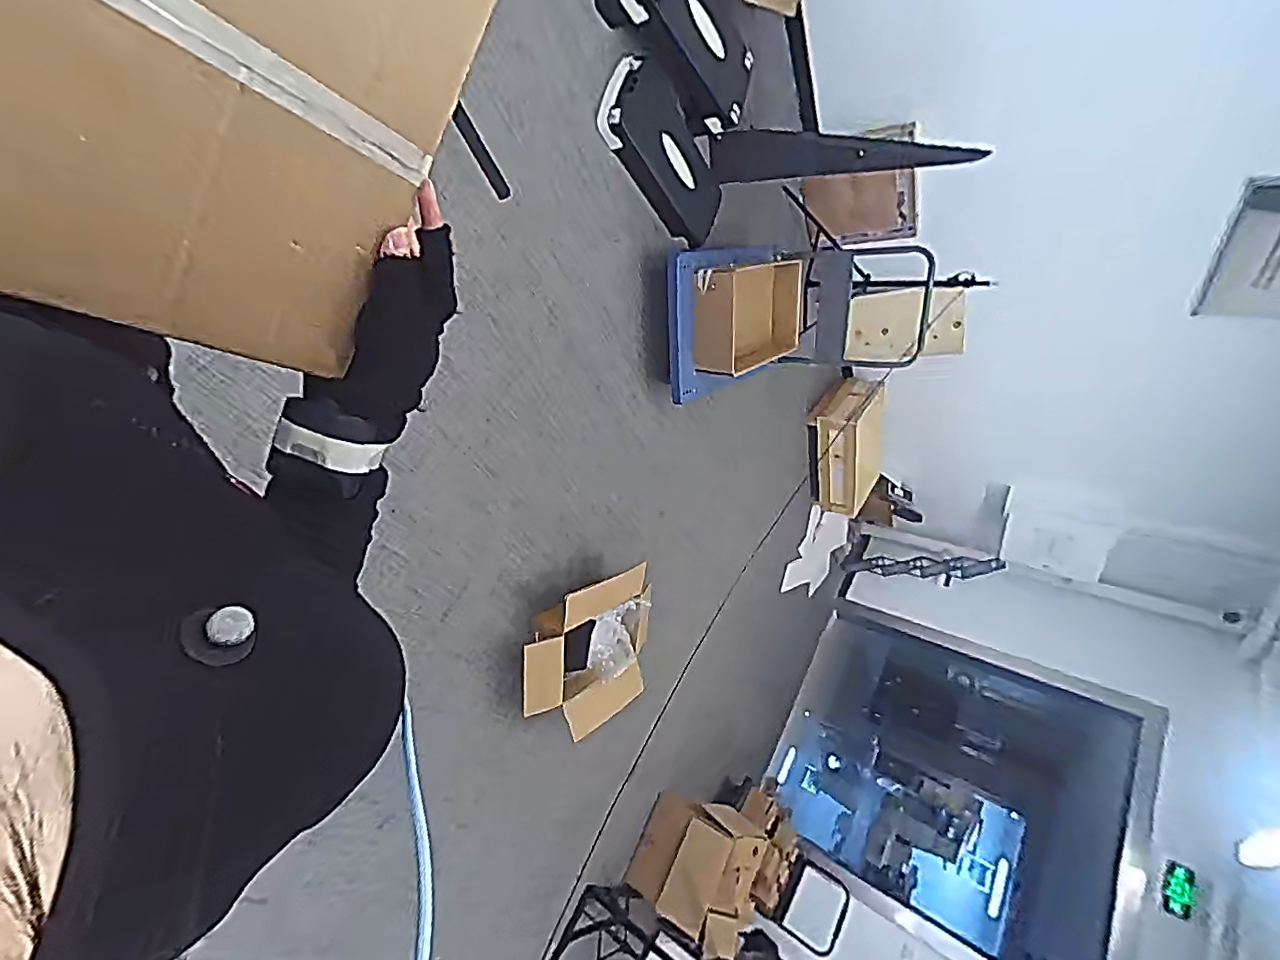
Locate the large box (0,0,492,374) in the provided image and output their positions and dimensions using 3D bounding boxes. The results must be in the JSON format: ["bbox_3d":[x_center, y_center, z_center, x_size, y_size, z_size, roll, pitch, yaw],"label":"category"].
[{"bbox_3d":[-0.365,-0.306,0.300,0.408,0.320,0.320,12,114,-51],"label":"large box"}]
